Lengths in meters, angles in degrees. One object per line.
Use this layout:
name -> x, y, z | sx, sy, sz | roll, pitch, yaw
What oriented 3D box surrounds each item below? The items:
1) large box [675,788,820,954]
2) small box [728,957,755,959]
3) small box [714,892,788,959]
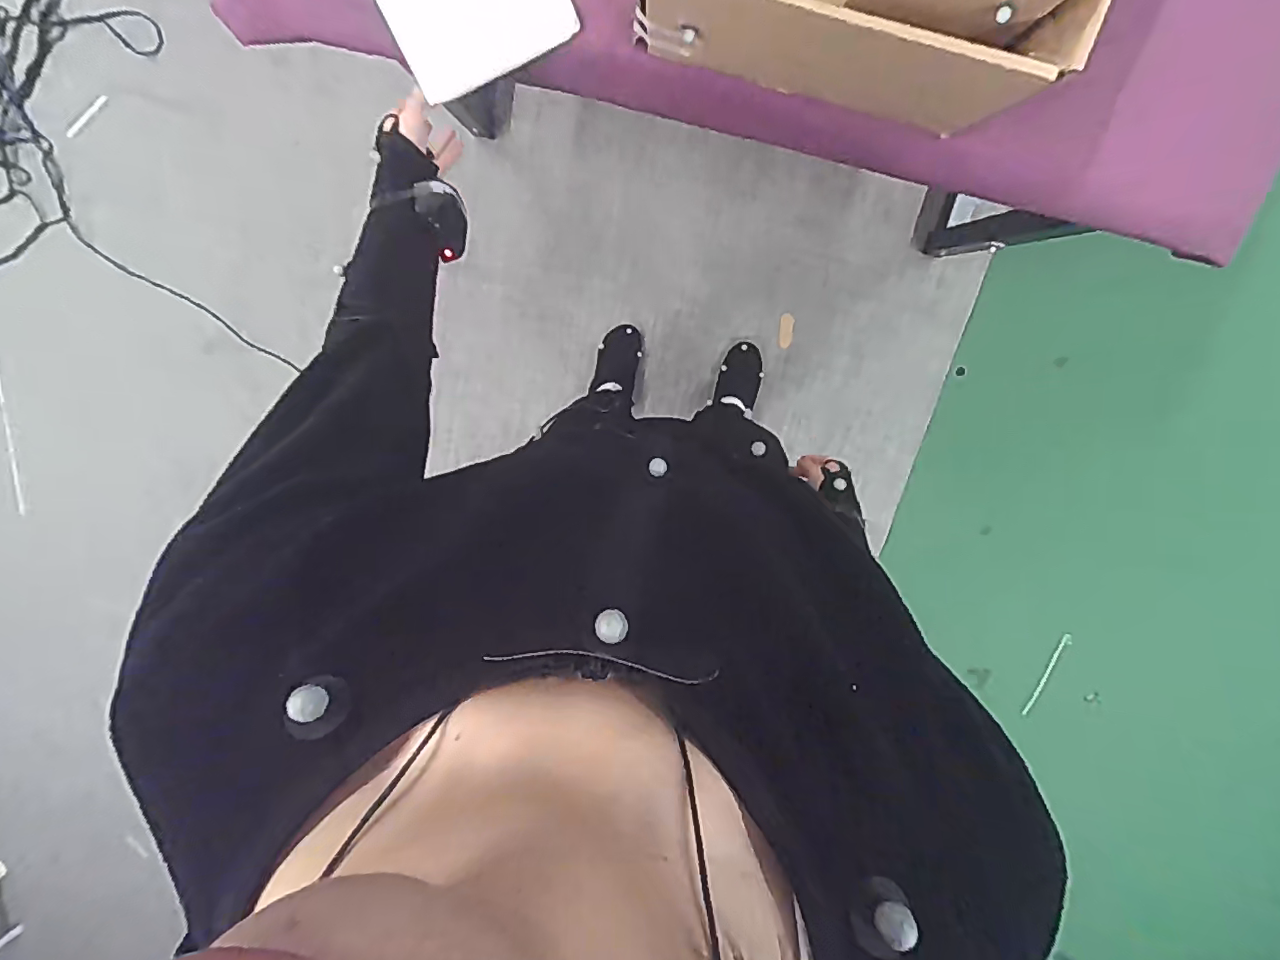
large box -> 0.331, 1.257, 1.760 | 0.408, 0.320, 0.320 | -3, 108, 0
small box -> 0.299, 1.352, 1.362 | 0.179, 0.176, 0.168 | 4, 106, 0
small box -> 0.304, 1.299, 1.515 | 0.168, 0.176, 0.179 | 3, 106, 0
